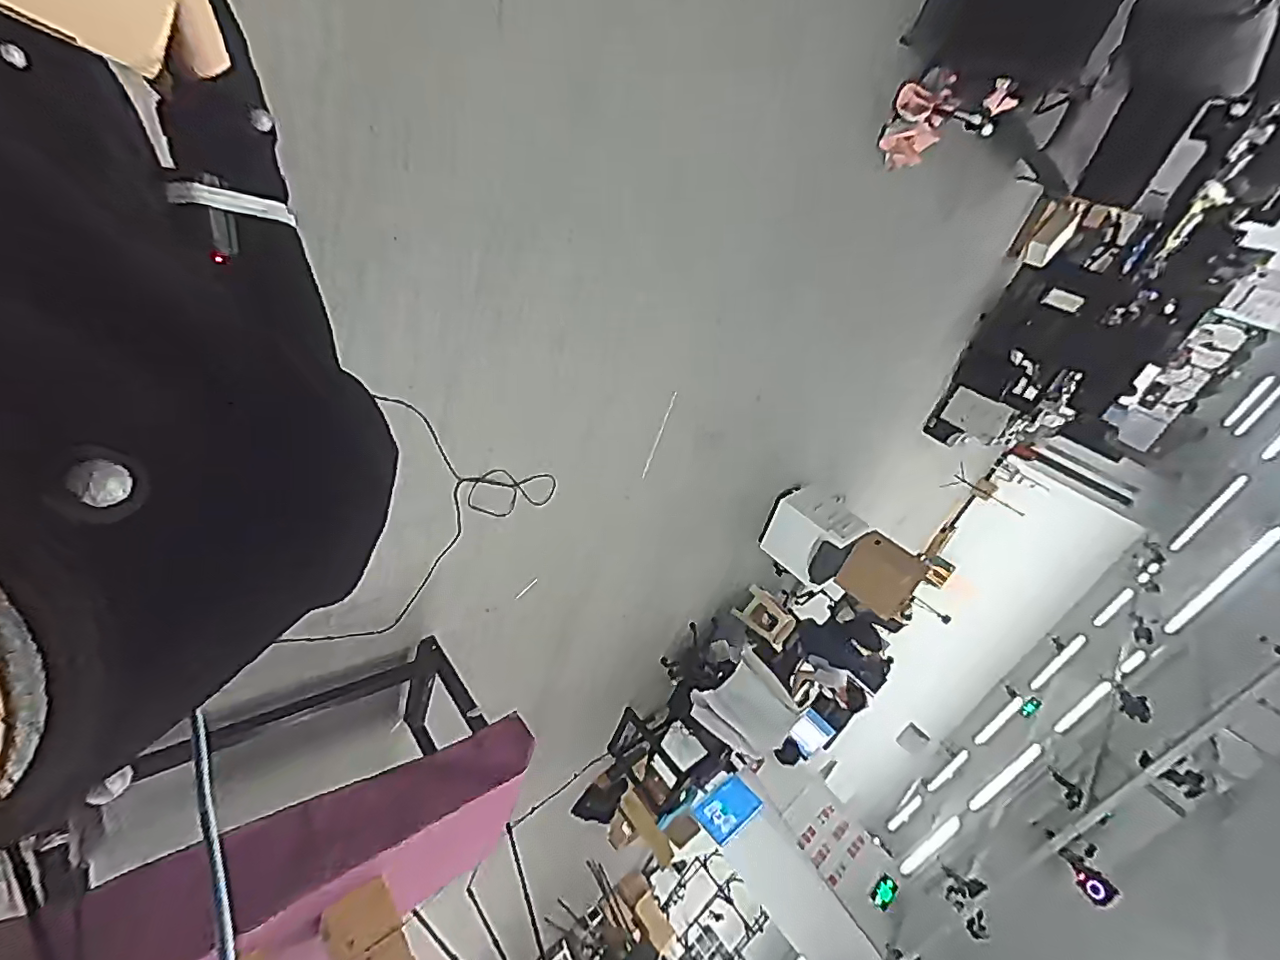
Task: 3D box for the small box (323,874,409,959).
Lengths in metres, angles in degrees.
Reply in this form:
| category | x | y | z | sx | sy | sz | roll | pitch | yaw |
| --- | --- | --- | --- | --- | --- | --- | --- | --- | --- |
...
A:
| category | x | y | z | sx | sy | sz | roll | pitch | yaw |
| --- | --- | --- | --- | --- | --- | --- | --- | --- | --- |
| small box | -0.827 | 1.343 | 1.627 | 0.179 | 0.176 | 0.168 | -7 | 129 | -45 |

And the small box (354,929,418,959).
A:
| category | x | y | z | sx | sy | sz | roll | pitch | yaw |
| --- | --- | --- | --- | --- | --- | --- | --- | --- | --- |
| small box | -0.729 | 1.434 | 1.533 | 0.168 | 0.176 | 0.179 | -8 | 130 | -44 |
